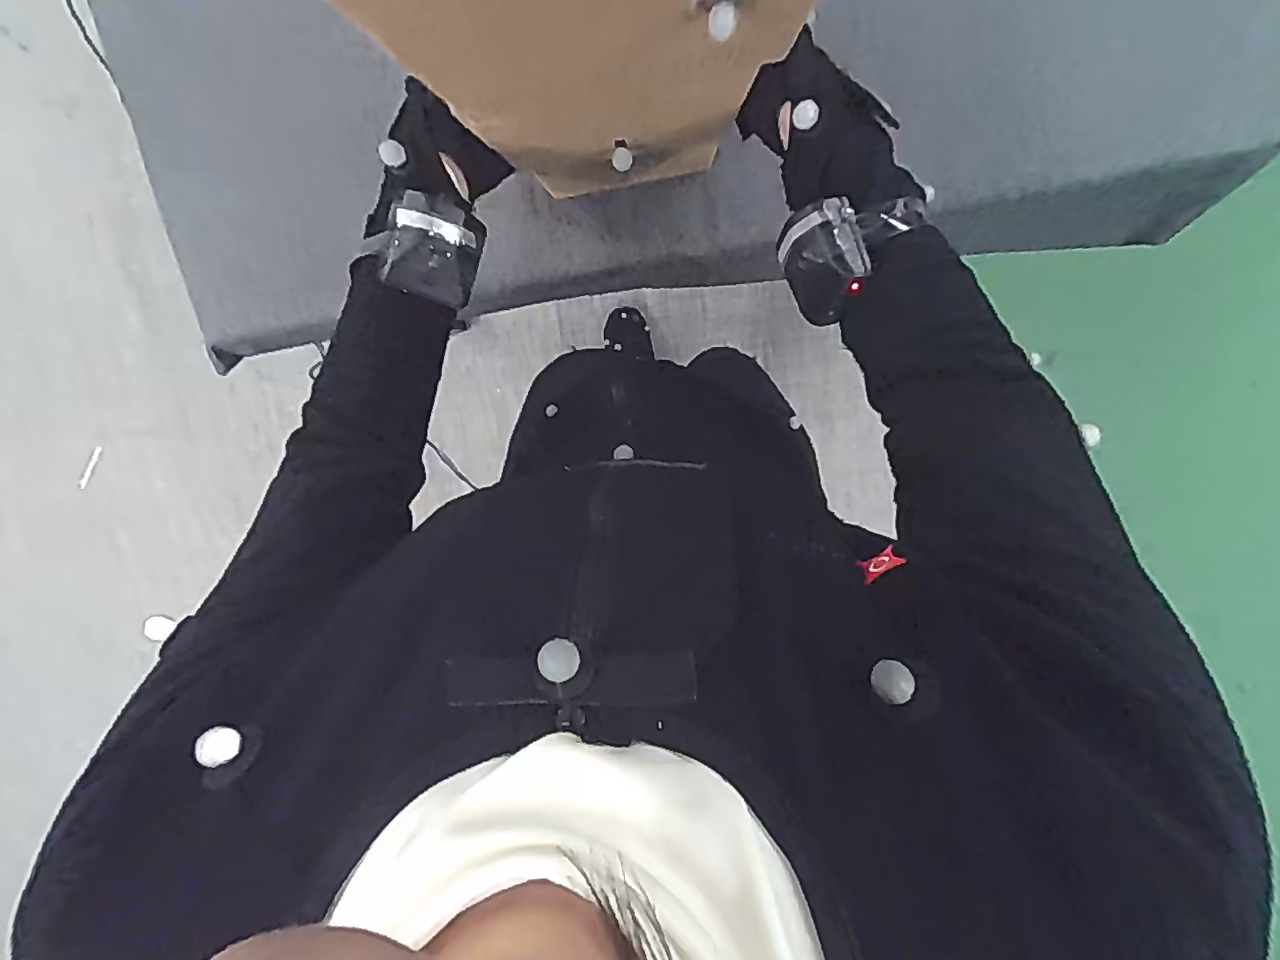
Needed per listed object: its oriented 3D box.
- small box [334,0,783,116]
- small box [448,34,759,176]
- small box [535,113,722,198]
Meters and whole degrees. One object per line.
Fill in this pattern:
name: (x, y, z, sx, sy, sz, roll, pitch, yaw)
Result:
small box: (-0.029, -0.263, 0.193, 0.179, 0.176, 0.168, -9, 107, 6)
small box: (-0.033, -0.317, 0.348, 0.179, 0.176, 0.168, -10, 108, 5)
small box: (-0.028, -0.381, 0.501, 0.179, 0.176, 0.168, -9, 105, 5)
